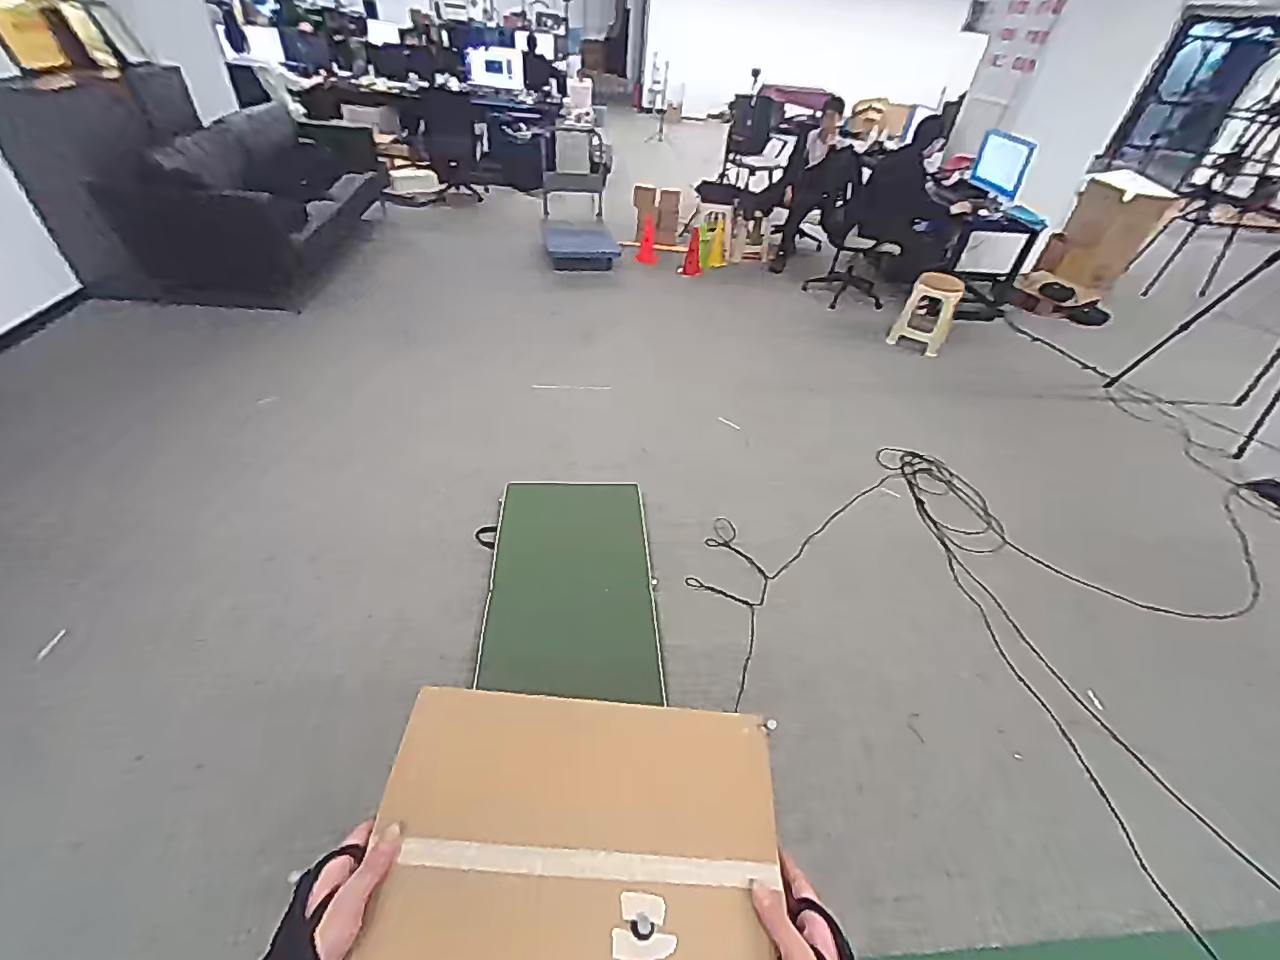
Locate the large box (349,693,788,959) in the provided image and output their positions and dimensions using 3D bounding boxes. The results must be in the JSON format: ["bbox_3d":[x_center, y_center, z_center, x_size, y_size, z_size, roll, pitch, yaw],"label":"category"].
[{"bbox_3d":[-0.072,0.480,0.645,0.408,0.320,0.320,6,48,-2],"label":"large box"}]
